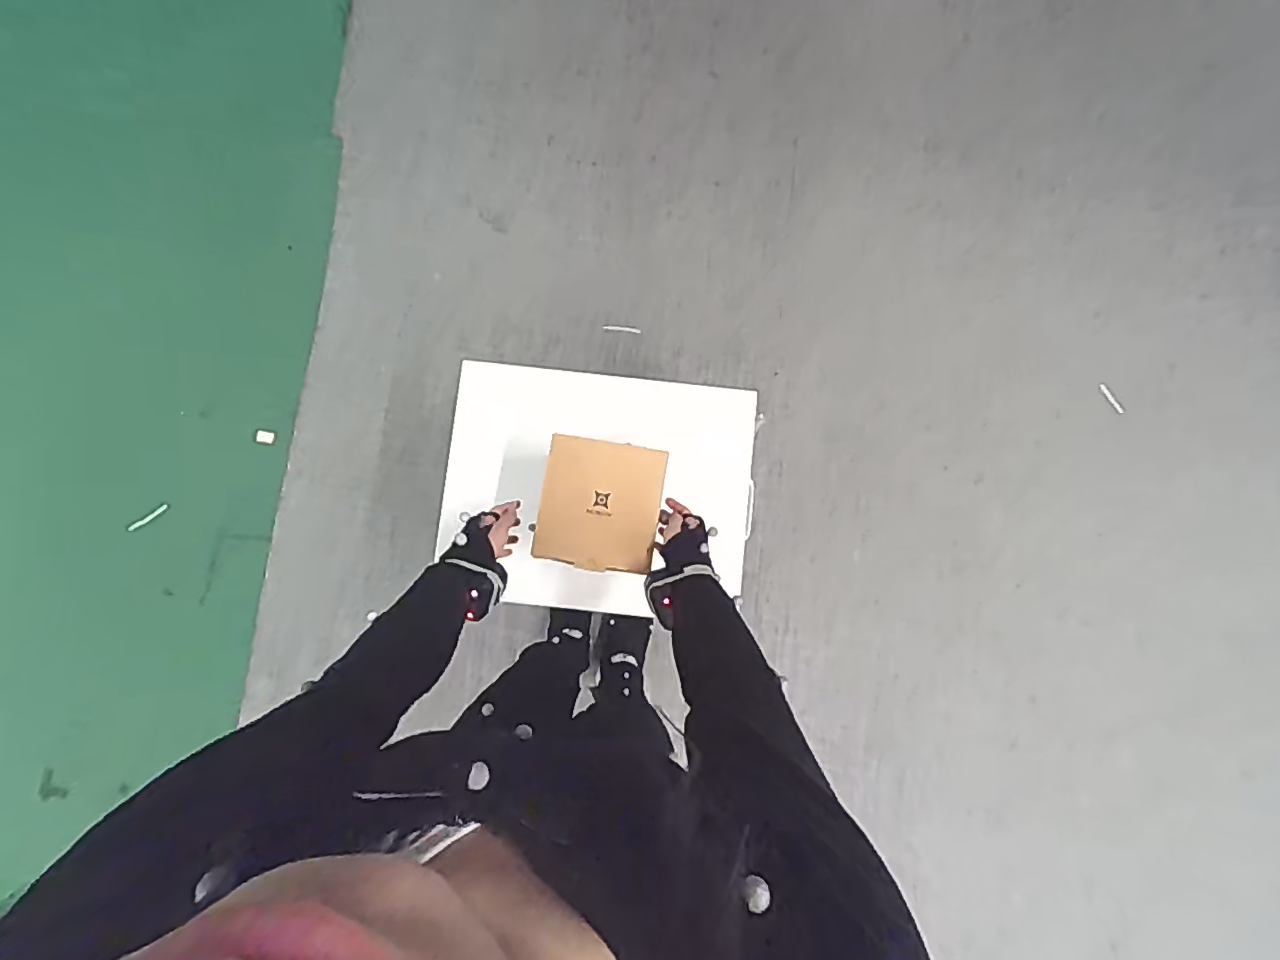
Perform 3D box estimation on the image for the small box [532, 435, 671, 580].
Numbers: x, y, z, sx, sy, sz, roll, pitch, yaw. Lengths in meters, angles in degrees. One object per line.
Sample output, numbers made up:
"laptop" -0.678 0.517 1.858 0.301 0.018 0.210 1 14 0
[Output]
"small box" -0.052 0.045 0.801 0.168 0.176 0.179 8 84 0
